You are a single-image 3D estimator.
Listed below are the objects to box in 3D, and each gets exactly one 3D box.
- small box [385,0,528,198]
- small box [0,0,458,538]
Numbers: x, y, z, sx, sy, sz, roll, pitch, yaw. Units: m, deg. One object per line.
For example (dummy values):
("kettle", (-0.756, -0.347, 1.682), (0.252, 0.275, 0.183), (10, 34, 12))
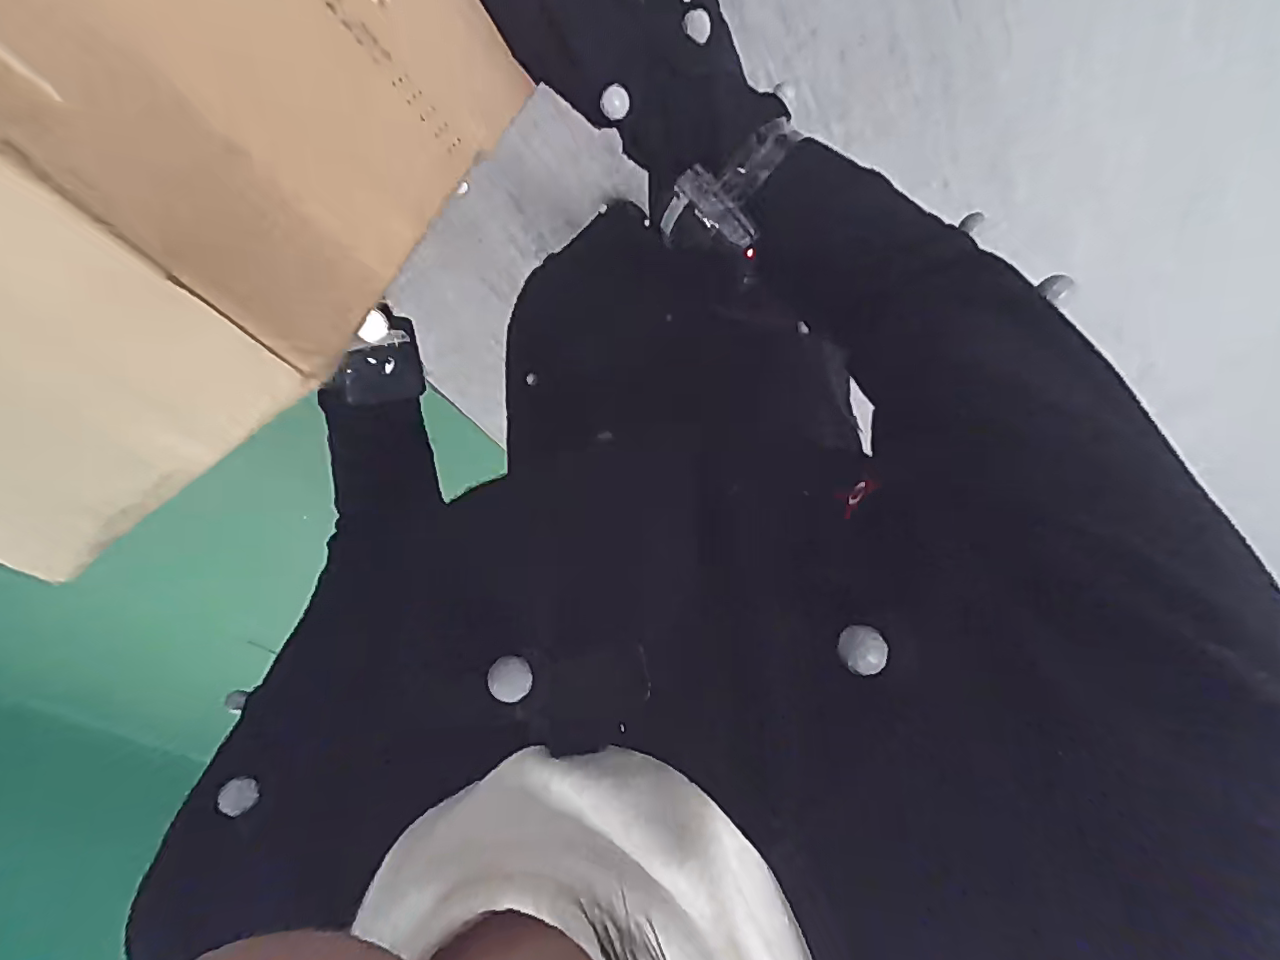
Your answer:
("small box", (-0.178, -0.232, 0.288), (0.179, 0.176, 0.168), (-24, 131, 27))
("small box", (-0.183, -0.114, 0.175), (0.179, 0.176, 0.168), (-25, 130, 28))
